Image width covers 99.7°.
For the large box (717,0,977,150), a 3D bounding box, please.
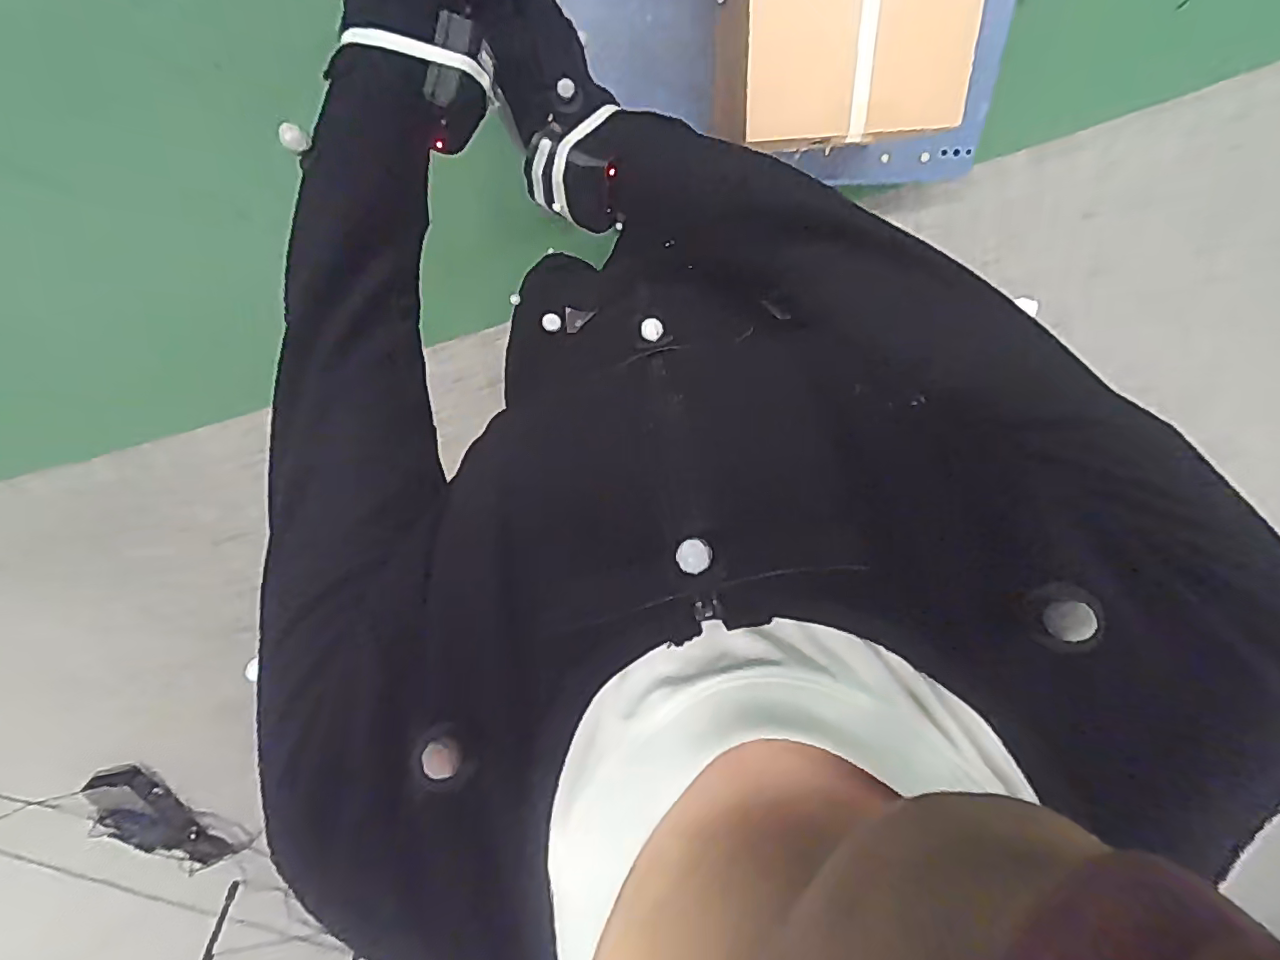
[{"bbox_3d":[0.288,-0.756,0.819,0.320,0.320,0.408,-4,118,0],"label":"large box"}]
